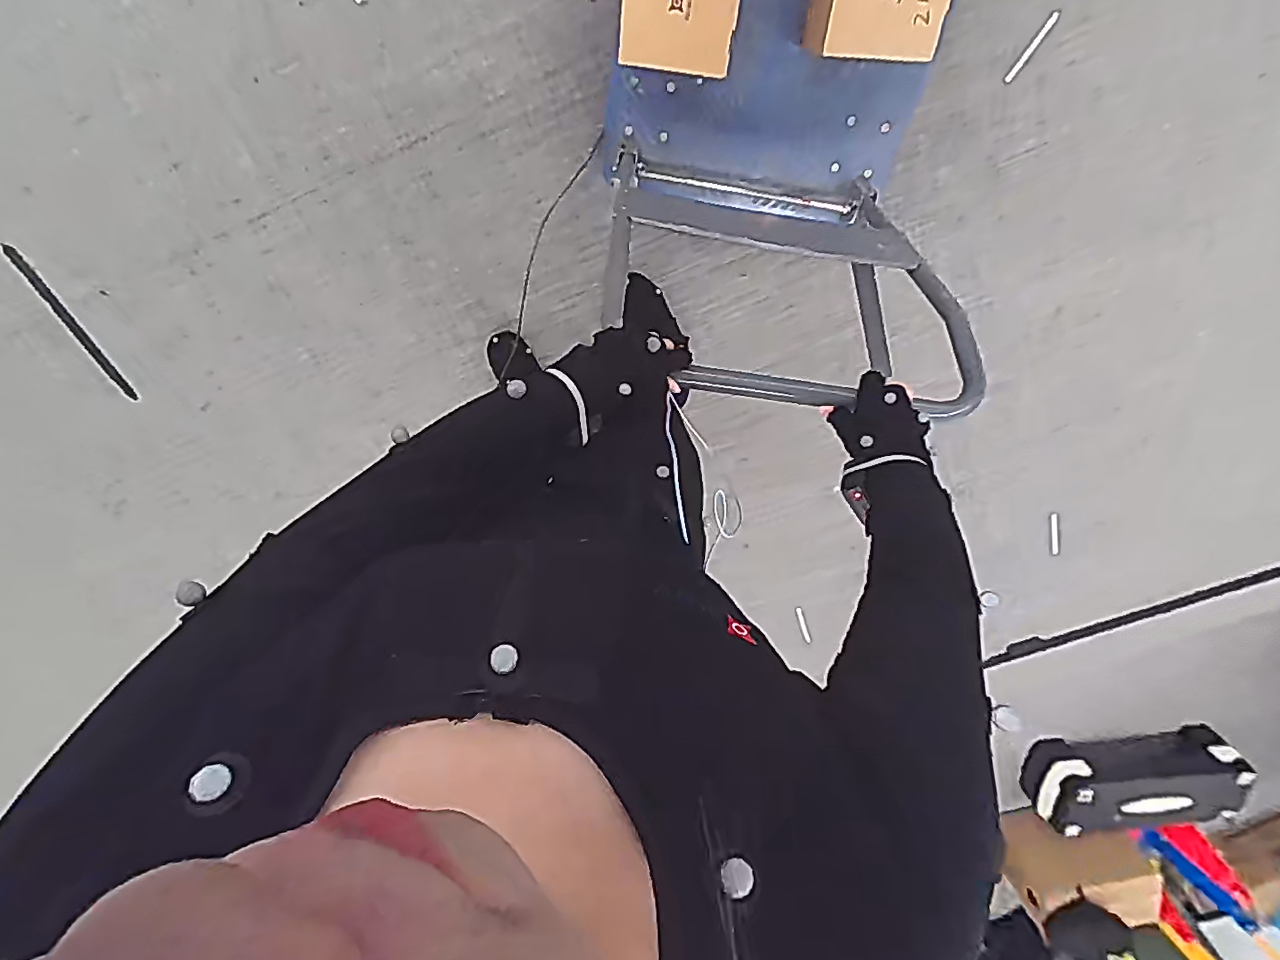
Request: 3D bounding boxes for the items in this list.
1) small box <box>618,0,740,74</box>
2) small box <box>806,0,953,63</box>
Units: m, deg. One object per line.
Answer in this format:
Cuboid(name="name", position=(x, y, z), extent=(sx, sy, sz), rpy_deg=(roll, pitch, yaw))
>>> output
Cuboid(name="small box", position=(0.062, -0.764, 0.857), extent=(0.179, 0.176, 0.168), rpy_deg=(5, 132, -5))
Cuboid(name="small box", position=(0.375, -0.767, 0.842), extent=(0.179, 0.176, 0.168), rpy_deg=(4, 133, -1))
